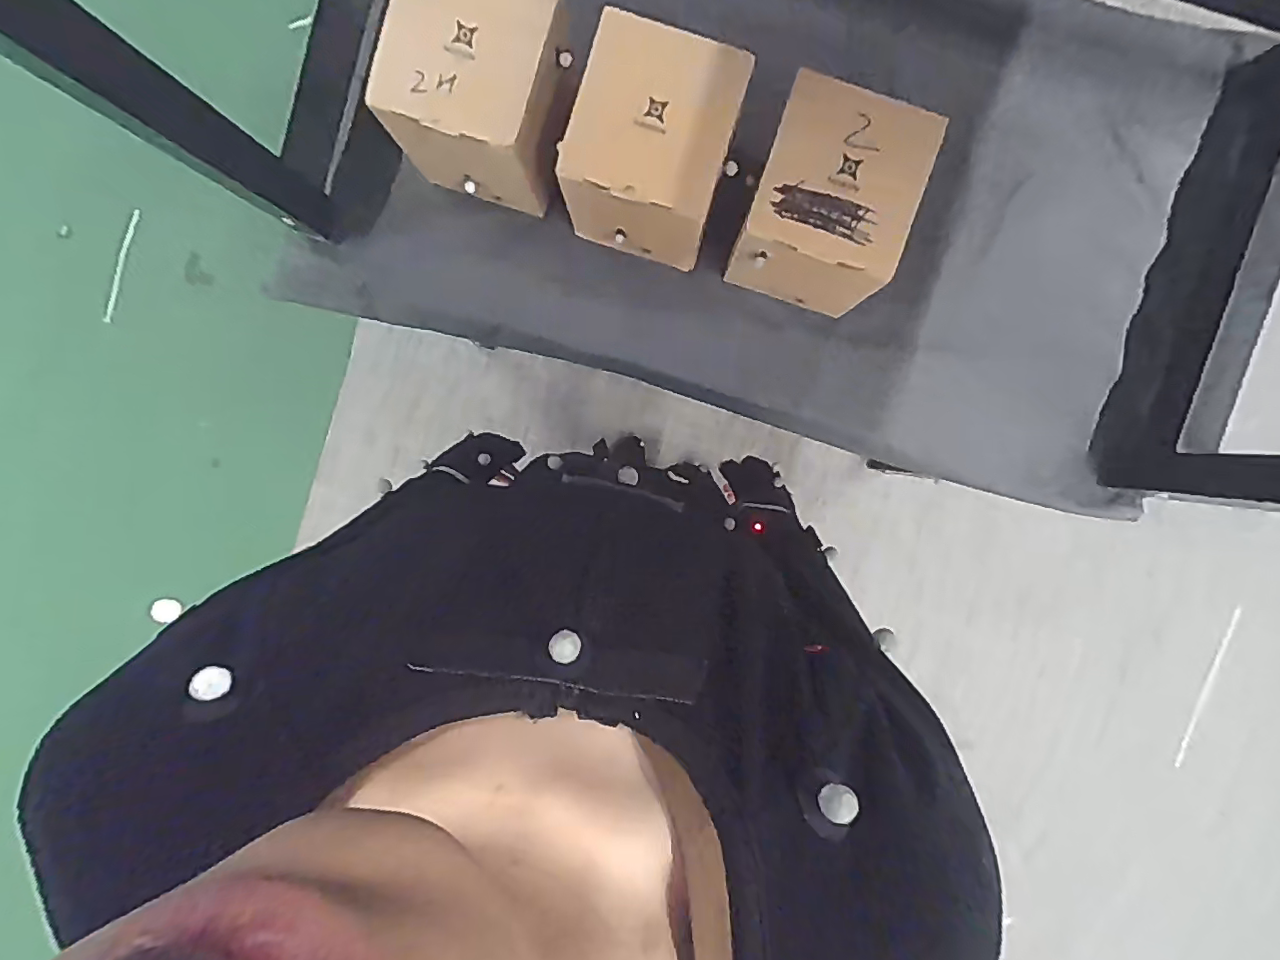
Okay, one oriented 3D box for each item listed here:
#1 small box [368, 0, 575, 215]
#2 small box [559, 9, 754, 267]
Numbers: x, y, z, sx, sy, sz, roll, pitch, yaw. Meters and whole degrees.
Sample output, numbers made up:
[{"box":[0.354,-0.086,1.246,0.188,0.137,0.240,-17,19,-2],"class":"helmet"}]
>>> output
[{"box":[-0.181,-0.453,0.637,0.168,0.176,0.179,17,94,-1],"class":"small box"},{"box":[0.015,-0.385,0.643,0.168,0.176,0.179,18,94,-1],"class":"small box"}]
